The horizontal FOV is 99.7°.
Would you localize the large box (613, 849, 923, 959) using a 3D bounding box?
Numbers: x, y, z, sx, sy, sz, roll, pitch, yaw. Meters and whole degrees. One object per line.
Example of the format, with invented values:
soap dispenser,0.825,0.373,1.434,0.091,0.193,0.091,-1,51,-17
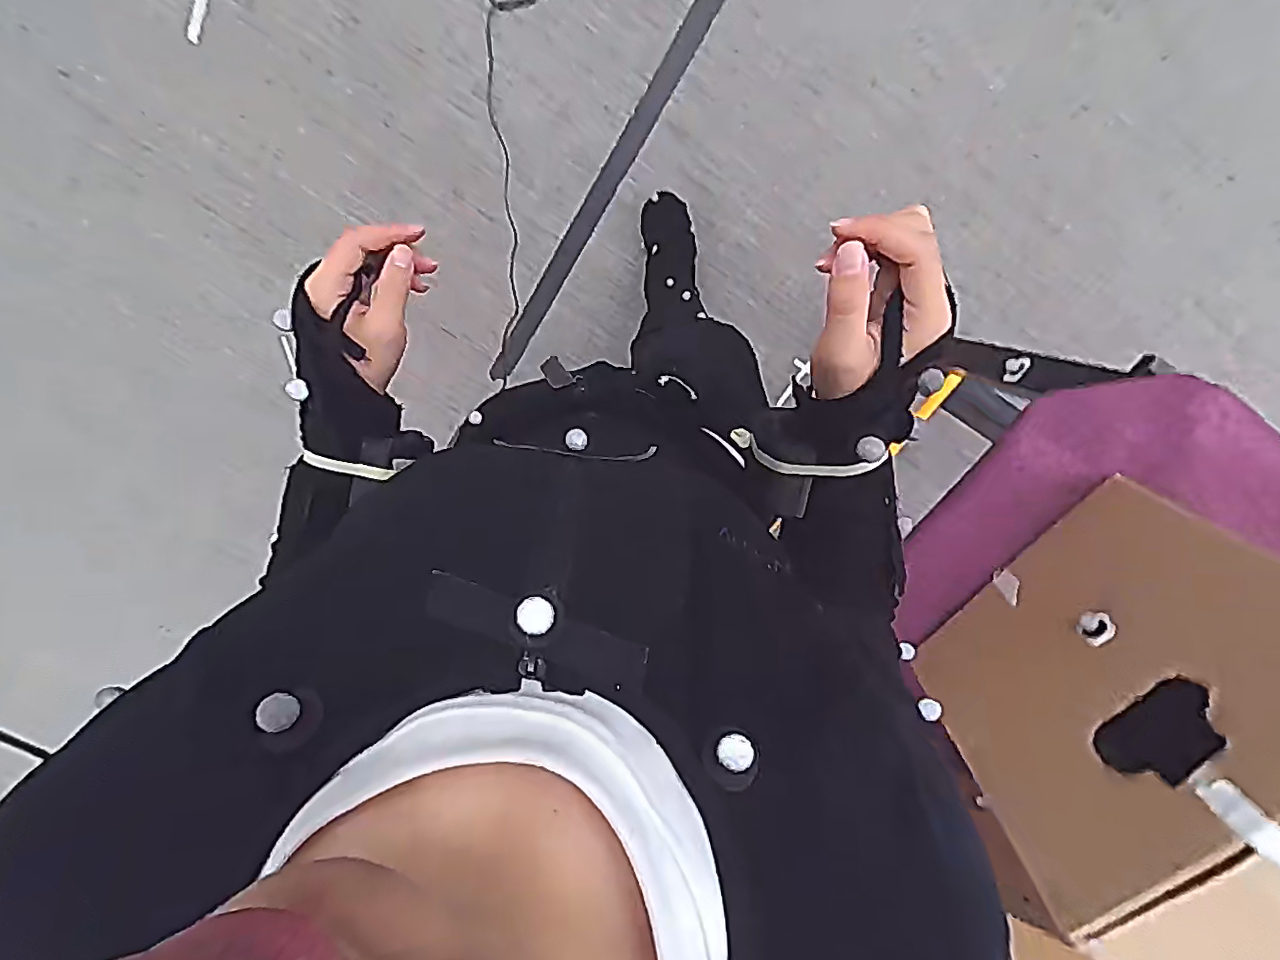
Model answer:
large box,0.196,0.812,0.748,0.408,0.320,0.320,31,110,-10
